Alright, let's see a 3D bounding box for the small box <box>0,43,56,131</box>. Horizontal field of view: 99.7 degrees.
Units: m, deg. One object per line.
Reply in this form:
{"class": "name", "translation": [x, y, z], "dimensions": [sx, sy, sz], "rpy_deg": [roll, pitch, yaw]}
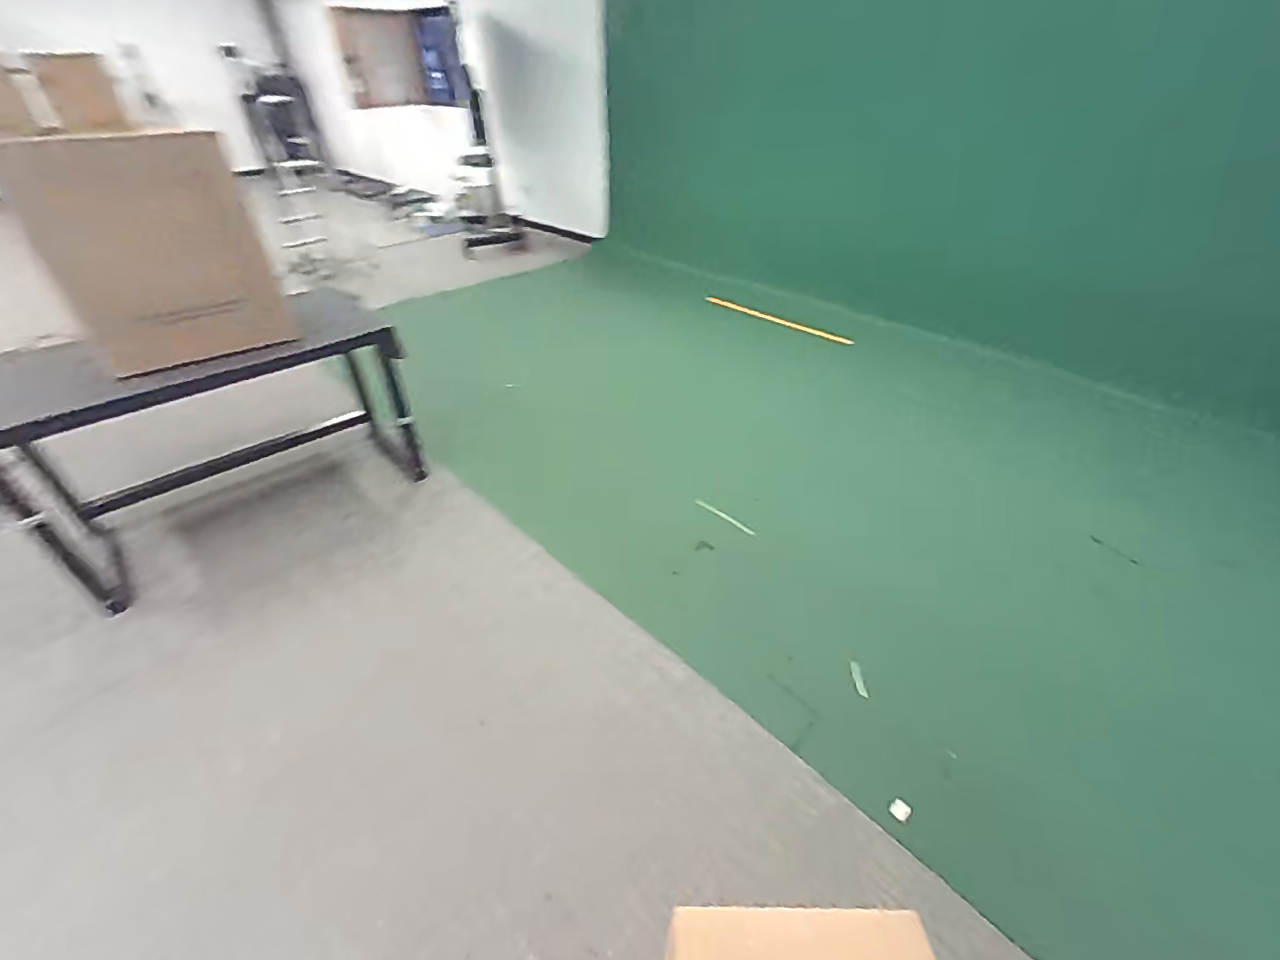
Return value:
{"class": "small box", "translation": [-1.598, -0.966, 1.328], "dimensions": [0.168, 0.176, 0.179], "rpy_deg": [-27, 47, -28]}
